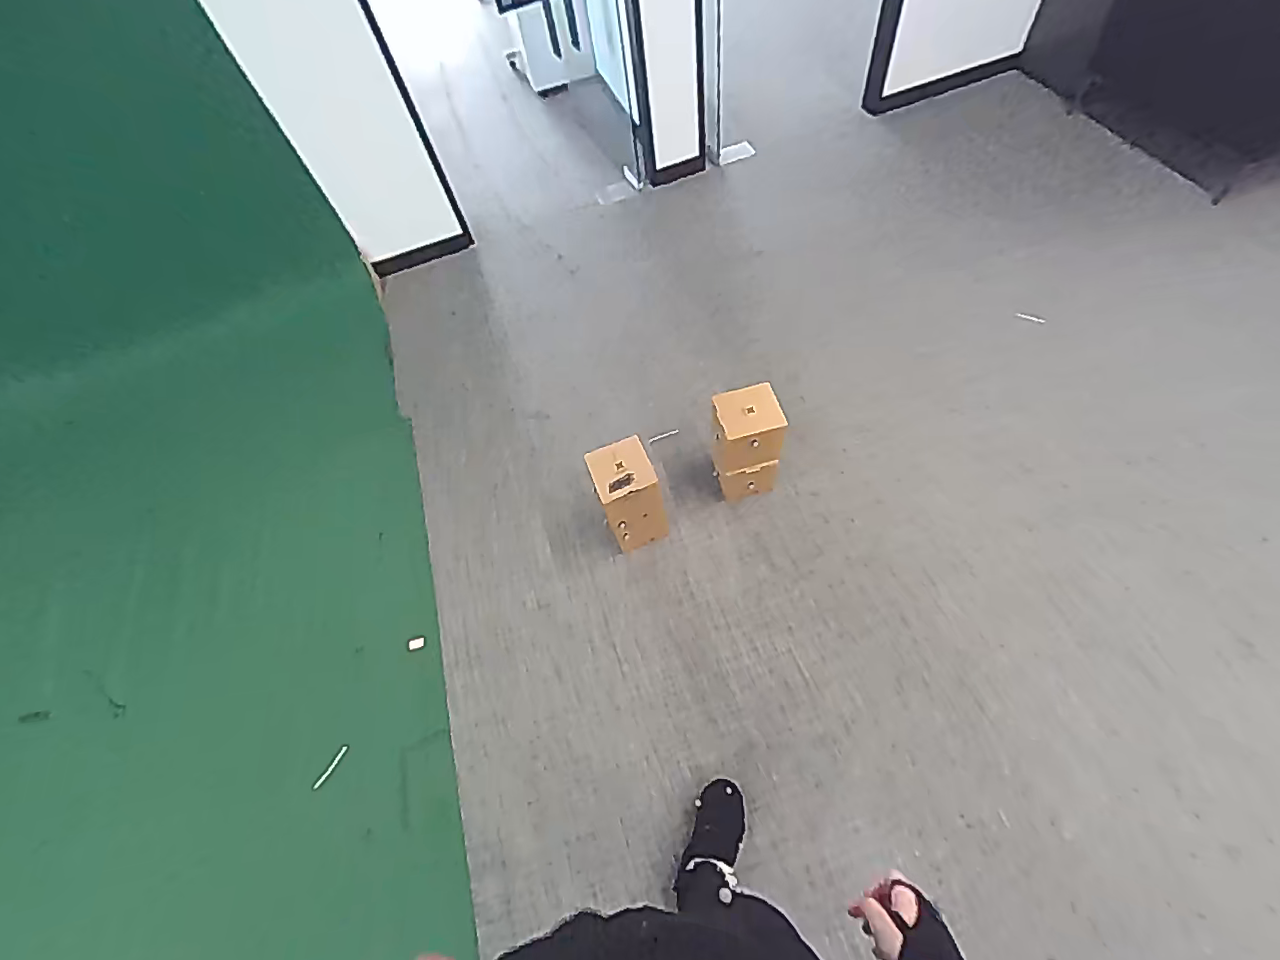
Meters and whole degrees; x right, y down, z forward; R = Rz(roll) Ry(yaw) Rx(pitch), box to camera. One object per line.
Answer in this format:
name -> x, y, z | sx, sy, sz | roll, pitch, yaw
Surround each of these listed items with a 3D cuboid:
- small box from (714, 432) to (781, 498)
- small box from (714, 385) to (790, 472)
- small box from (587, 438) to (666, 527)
small box -> 0.338, -0.056, 1.722 | 0.168, 0.176, 0.179 | -13, 60, 0
small box -> 0.323, -0.148, 1.588 | 0.179, 0.176, 0.168 | -15, 58, 1
small box -> -0.035, 0.017, 1.546 | 0.168, 0.176, 0.179 | -22, 58, -5
